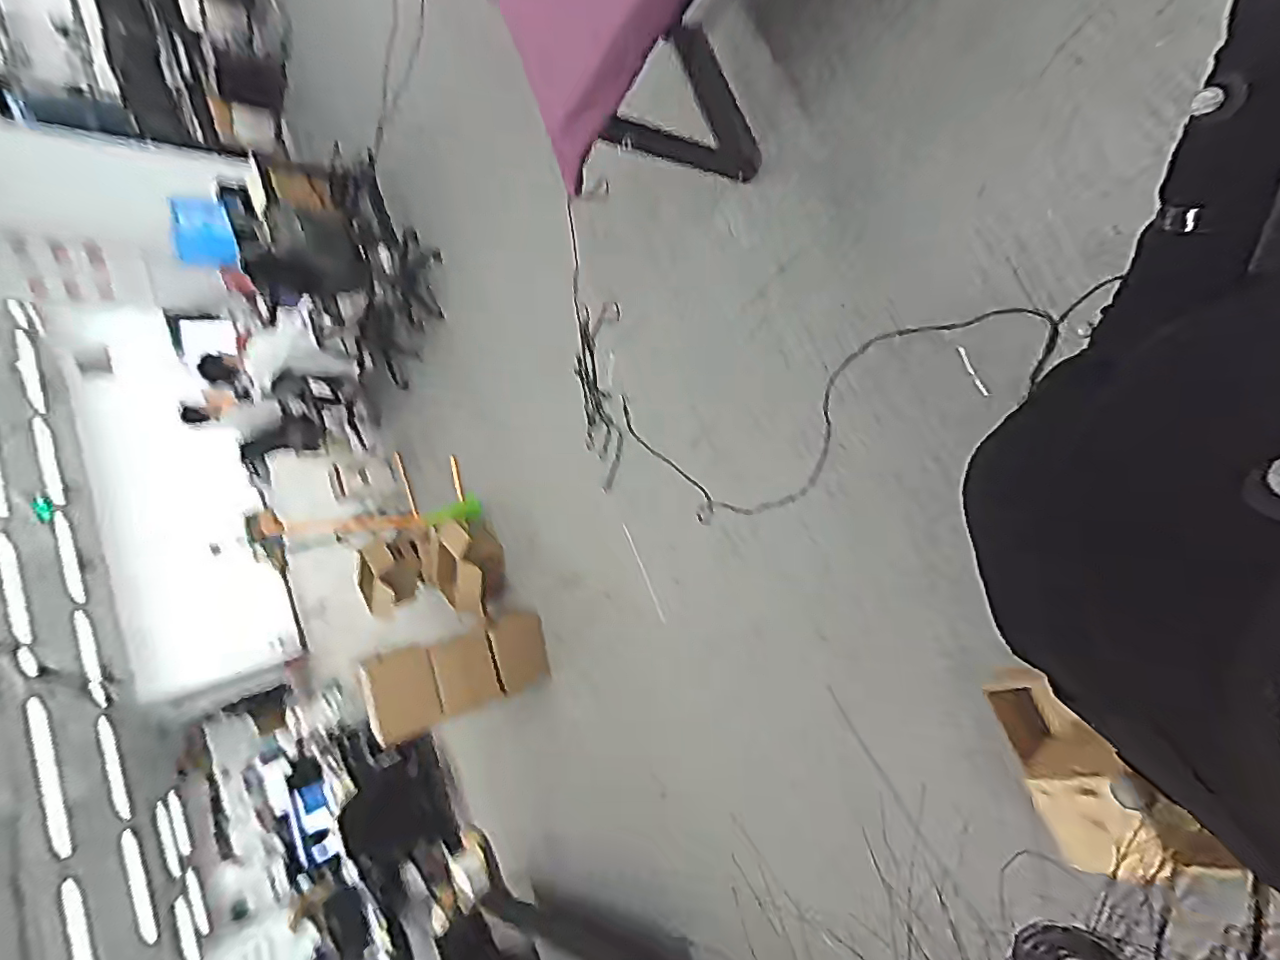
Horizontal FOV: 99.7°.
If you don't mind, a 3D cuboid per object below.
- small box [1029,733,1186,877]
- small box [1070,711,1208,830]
[{"bbox_3d":[0.912,0.621,1.052,0.168,0.176,0.179,-37,72,46],"label":"small box"},{"bbox_3d":[1.046,0.612,1.149,0.179,0.176,0.168,-43,67,45],"label":"small box"}]
